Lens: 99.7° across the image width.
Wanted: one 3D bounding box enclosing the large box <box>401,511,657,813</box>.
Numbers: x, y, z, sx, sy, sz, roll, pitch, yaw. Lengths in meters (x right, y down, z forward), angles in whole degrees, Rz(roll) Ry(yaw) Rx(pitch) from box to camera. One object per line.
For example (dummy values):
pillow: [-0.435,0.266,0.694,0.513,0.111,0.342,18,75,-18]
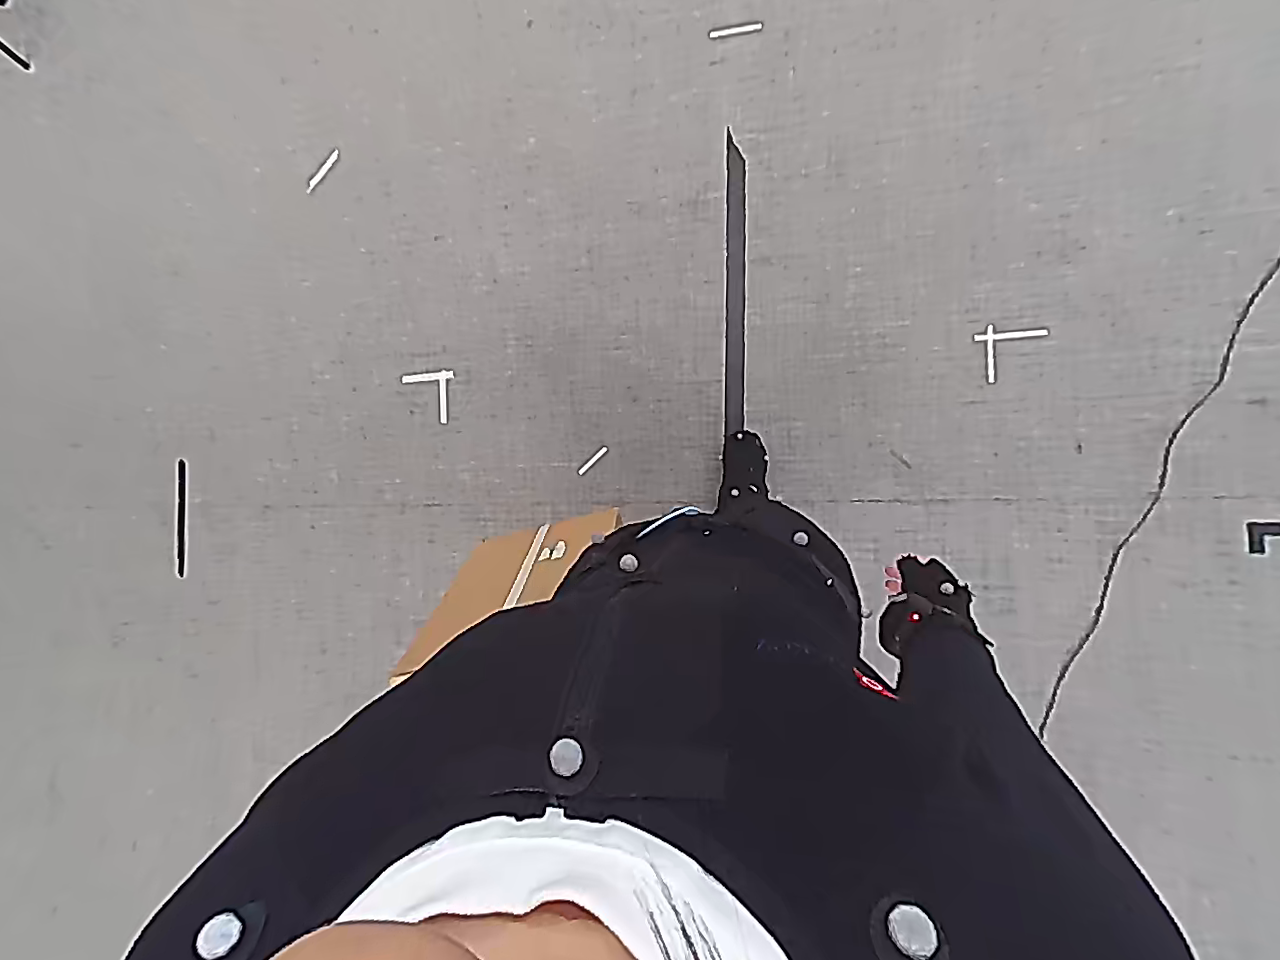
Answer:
large box: [-0.156,0.307,0.995,0.320,0.408,0.320,-14,110,8]
